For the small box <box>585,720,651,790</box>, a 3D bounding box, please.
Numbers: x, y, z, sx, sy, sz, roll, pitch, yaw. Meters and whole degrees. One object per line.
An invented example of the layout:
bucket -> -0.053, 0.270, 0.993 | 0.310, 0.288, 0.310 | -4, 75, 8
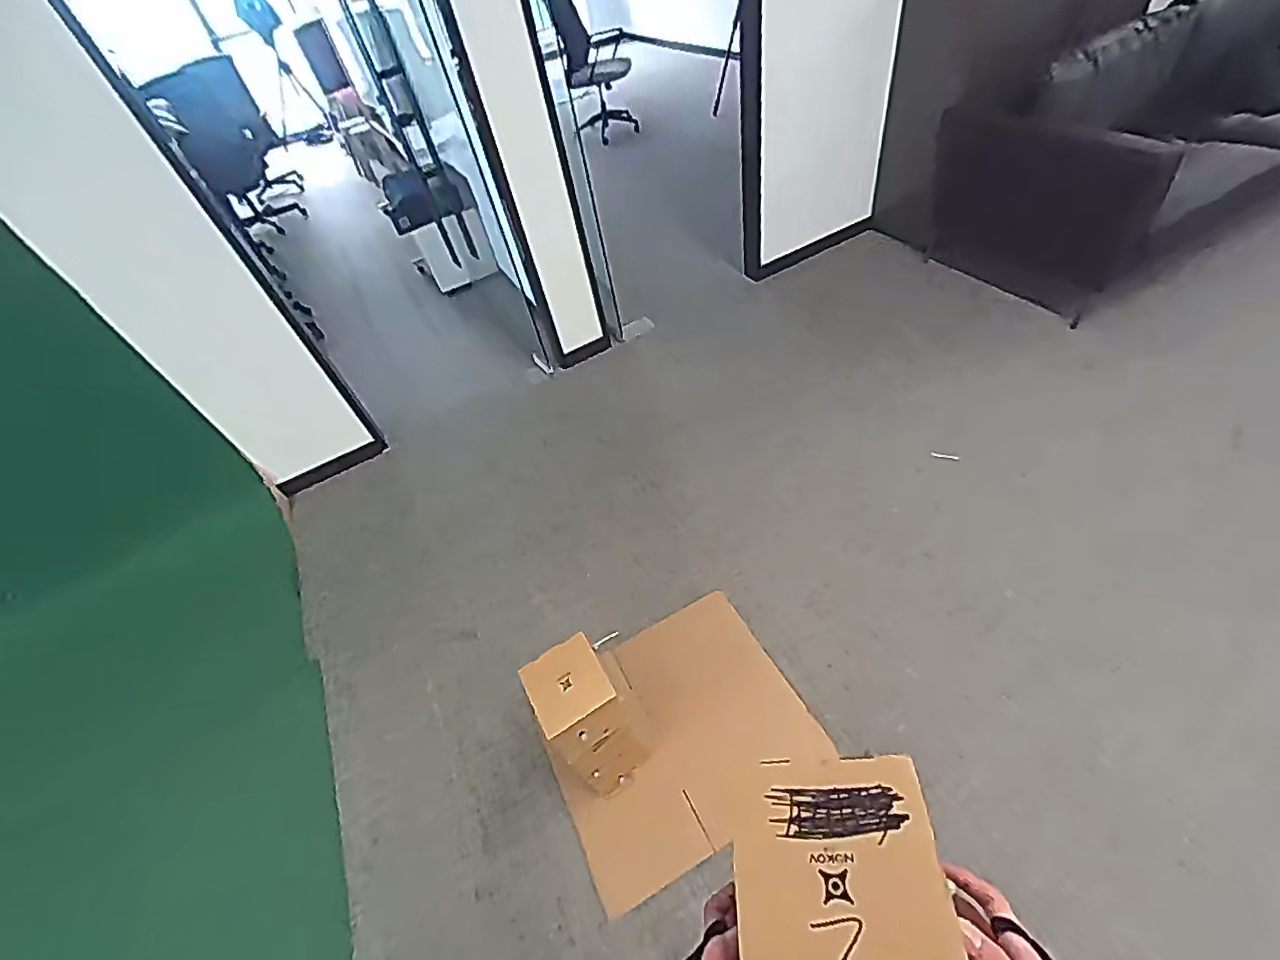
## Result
small box -> -0.091, 0.692, 1.449 | 0.168, 0.176, 0.179 | -32, 51, -16

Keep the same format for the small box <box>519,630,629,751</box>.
small box -> -0.141, 0.477, 1.209 | 0.168, 0.176, 0.179 | -30, 49, -13

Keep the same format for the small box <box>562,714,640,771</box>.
small box -> -0.118, 0.586, 1.328 | 0.168, 0.176, 0.179 | -30, 49, -13
